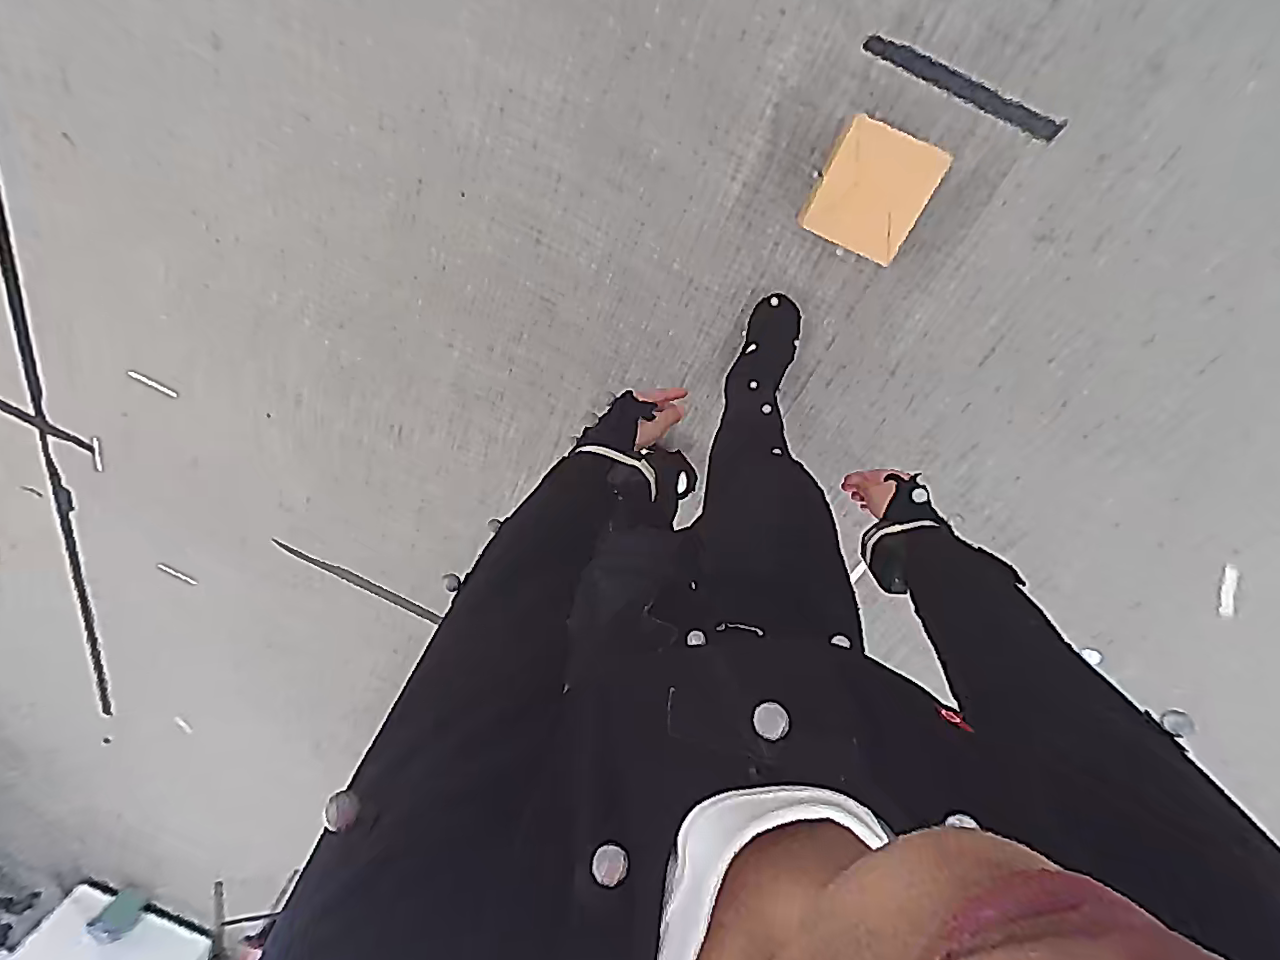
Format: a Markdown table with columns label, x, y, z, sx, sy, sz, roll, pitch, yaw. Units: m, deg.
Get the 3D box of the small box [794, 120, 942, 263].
| label | x | y | z | sx | sy | sz | roll | pitch | yaw |
| --- | --- | --- | --- | --- | --- | --- | --- | --- | --- |
| small box | 0.390 | -0.505 | 0.949 | 0.168 | 0.176 | 0.179 | 25 | 121 | -1 |
